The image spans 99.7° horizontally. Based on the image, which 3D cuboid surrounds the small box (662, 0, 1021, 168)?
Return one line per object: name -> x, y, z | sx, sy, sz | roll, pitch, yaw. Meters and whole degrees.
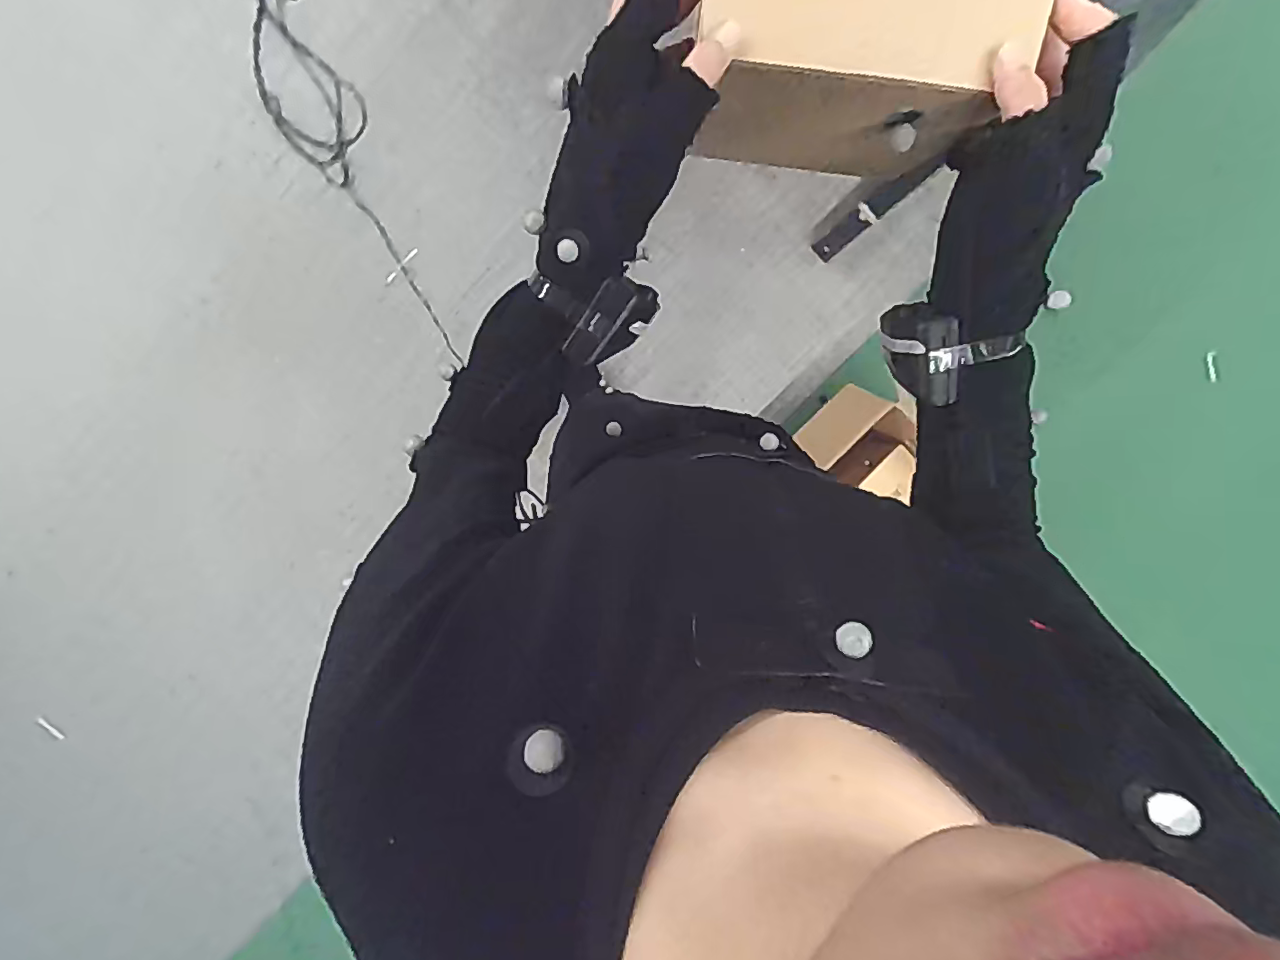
small box -> 0.110, -0.309, 0.332 | 0.179, 0.176, 0.168 | 6, 106, 0
